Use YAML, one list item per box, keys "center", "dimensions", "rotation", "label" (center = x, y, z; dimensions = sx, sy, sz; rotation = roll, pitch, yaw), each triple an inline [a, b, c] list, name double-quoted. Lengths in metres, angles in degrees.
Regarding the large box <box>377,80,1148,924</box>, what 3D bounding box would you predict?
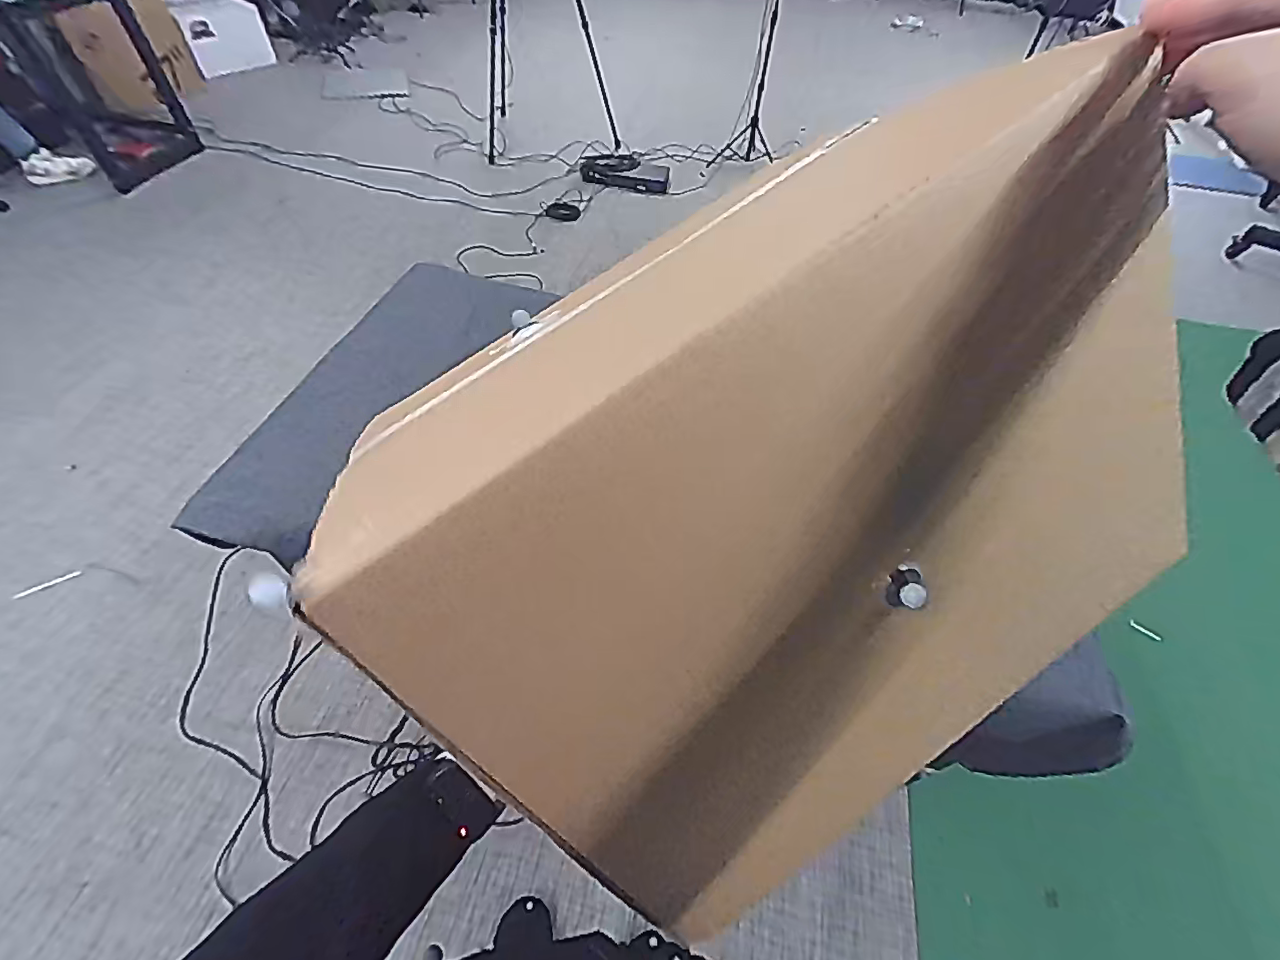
- center: [0.081, 0.003, 0.415]
  dimensions: [0.408, 0.320, 0.320]
  rotation: [-37, 27, -7]
  label: "large box"
